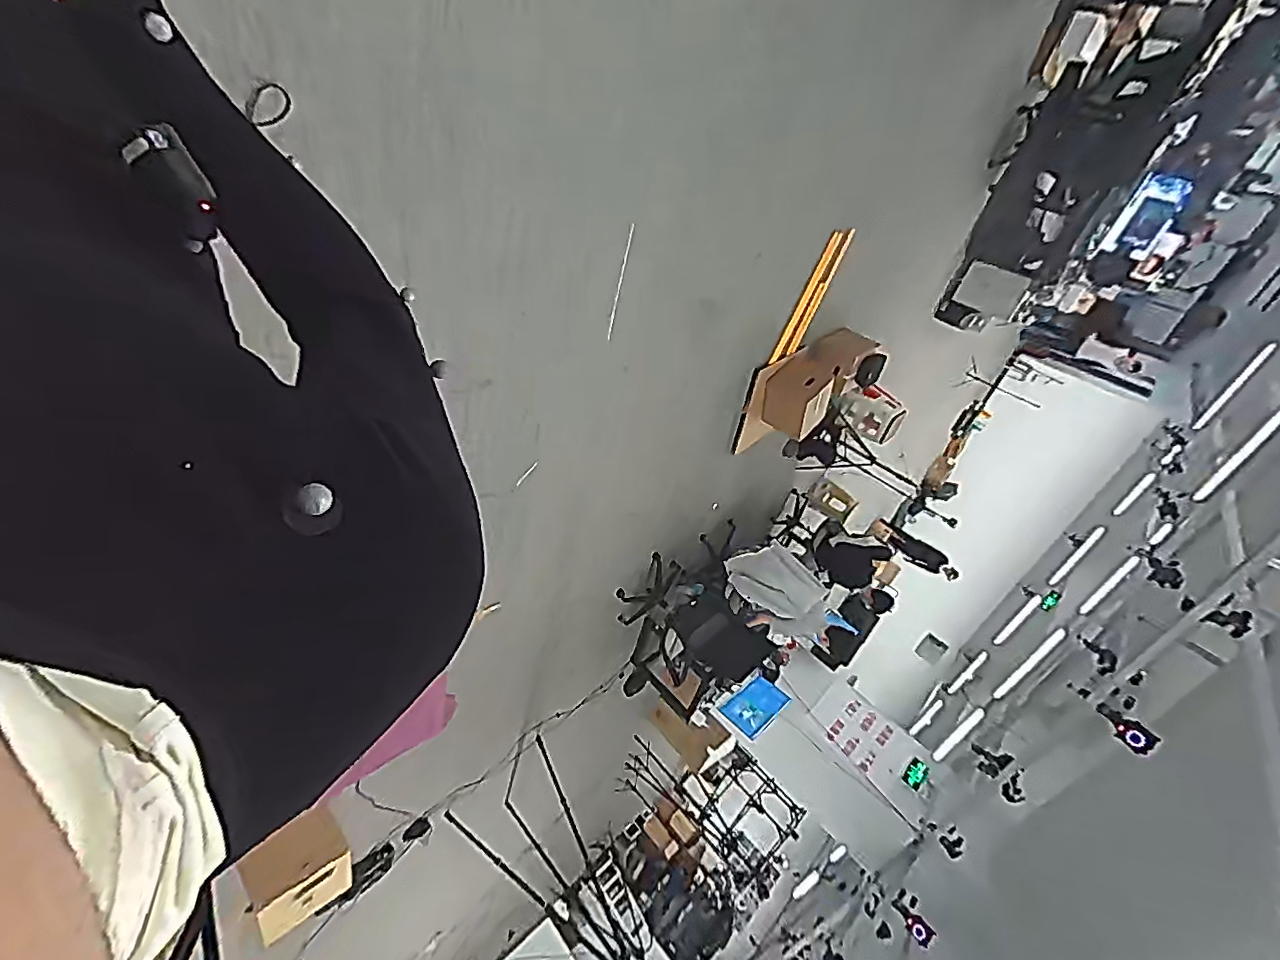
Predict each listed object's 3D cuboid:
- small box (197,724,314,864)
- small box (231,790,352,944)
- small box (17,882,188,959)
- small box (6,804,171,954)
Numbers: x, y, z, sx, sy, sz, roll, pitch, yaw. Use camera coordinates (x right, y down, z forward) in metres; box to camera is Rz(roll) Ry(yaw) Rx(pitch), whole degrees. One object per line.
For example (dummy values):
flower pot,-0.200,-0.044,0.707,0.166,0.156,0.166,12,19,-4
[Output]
small box,-0.829,0.676,1.179,0.168,0.176,0.179,-22,138,-41
small box,-0.719,0.788,1.120,0.168,0.176,0.179,-18,137,-45
small box,-0.898,0.837,0.919,0.168,0.176,0.179,-25,142,-40
small box,-1.010,0.747,0.998,0.168,0.176,0.179,-24,140,-41
